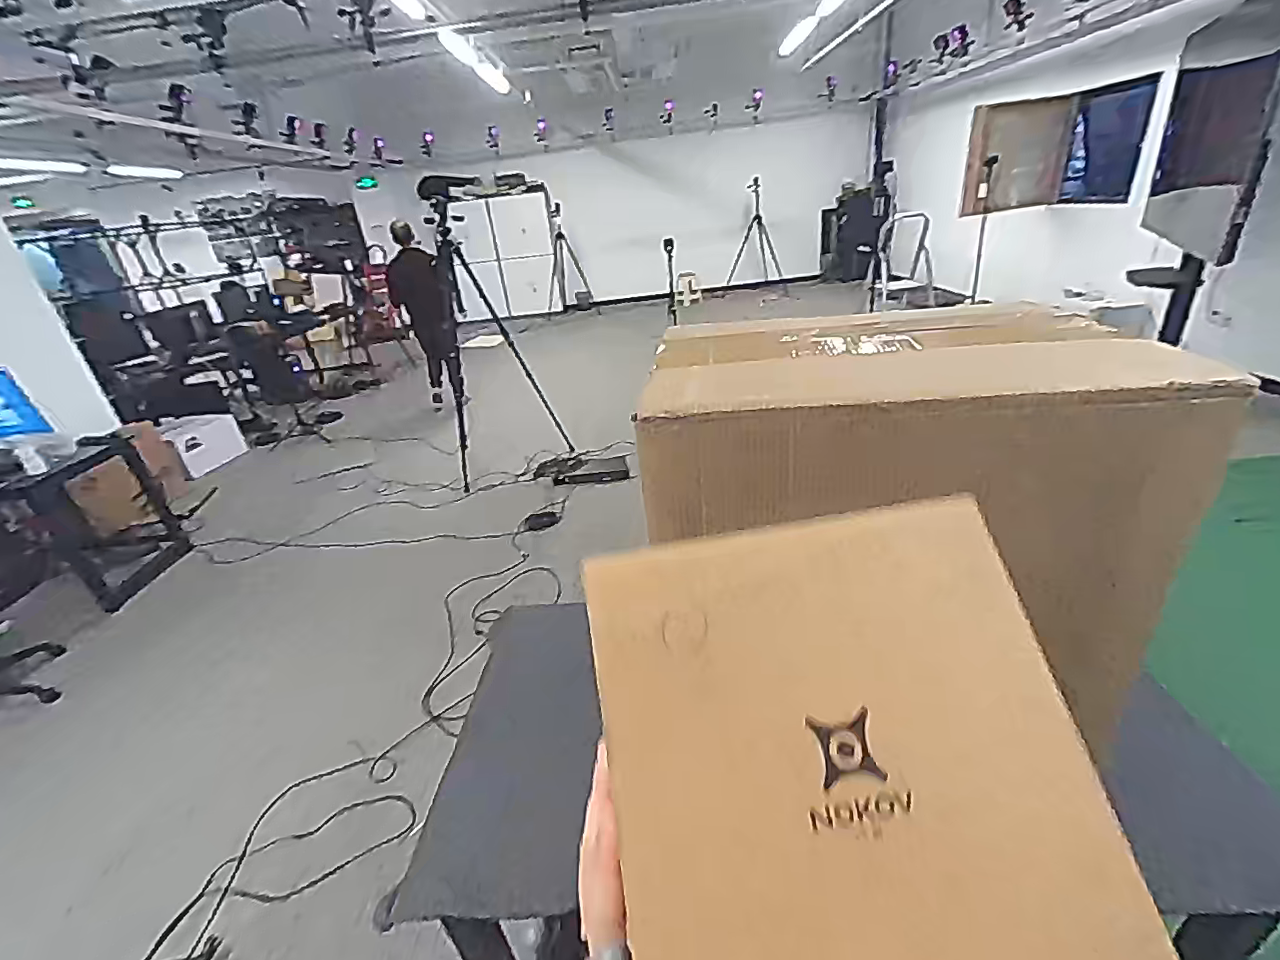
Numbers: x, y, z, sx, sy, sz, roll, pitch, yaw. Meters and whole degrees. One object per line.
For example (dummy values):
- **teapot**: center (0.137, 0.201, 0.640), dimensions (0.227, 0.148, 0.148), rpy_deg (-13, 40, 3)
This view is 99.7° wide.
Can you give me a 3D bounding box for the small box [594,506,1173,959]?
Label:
- **small box**: center (0.072, 0.130, 0.260), dimensions (0.168, 0.176, 0.179), rpy_deg (-9, 69, -3)
